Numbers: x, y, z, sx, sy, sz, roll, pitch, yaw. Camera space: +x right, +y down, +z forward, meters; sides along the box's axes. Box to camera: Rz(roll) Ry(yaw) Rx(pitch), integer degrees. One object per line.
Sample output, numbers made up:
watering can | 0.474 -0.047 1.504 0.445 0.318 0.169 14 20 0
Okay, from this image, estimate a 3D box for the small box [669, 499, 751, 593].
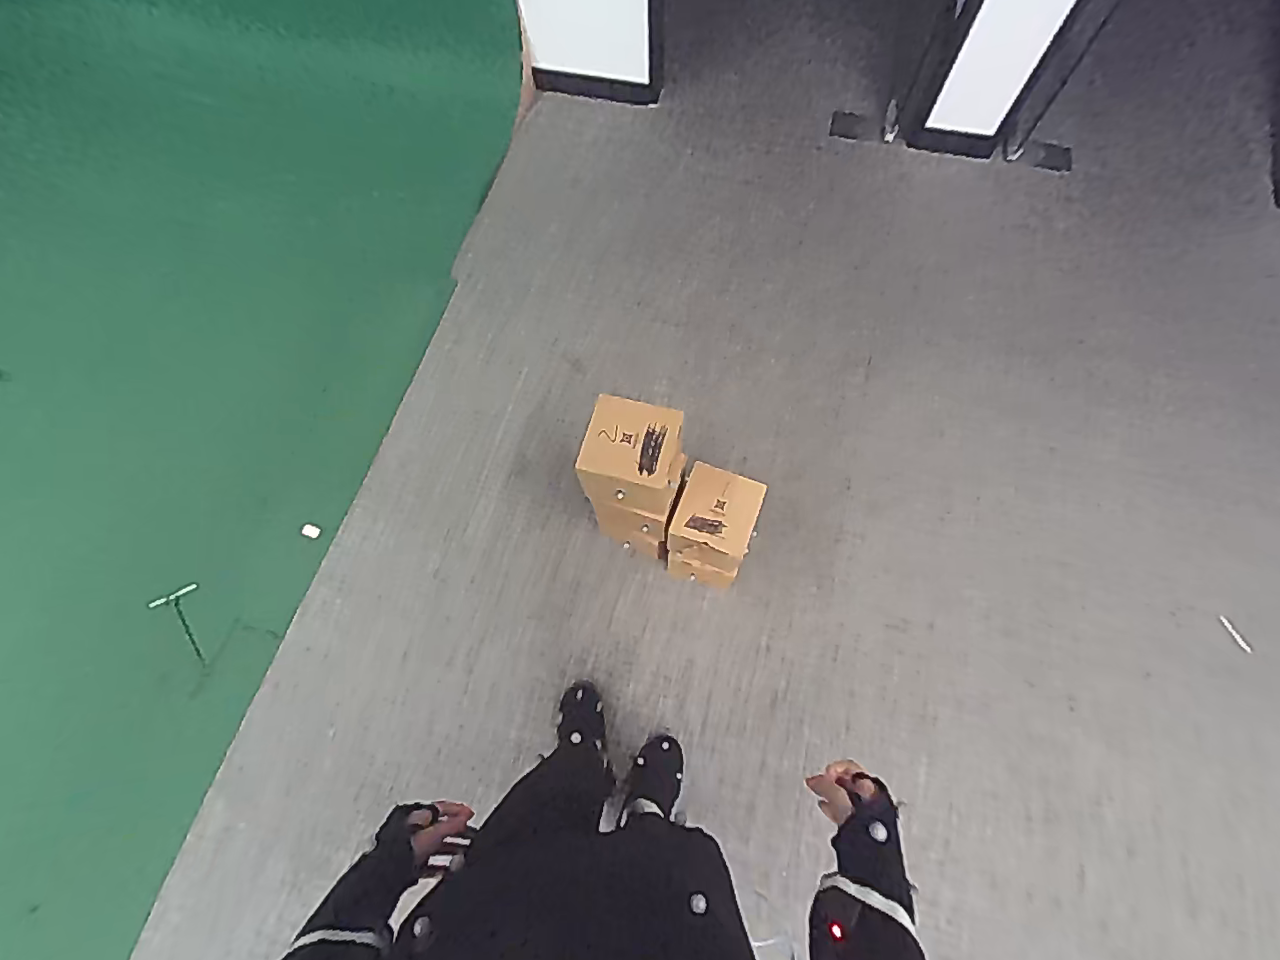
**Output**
small box | 0.170 0.171 1.365 0.168 0.176 0.179 15 71 8
